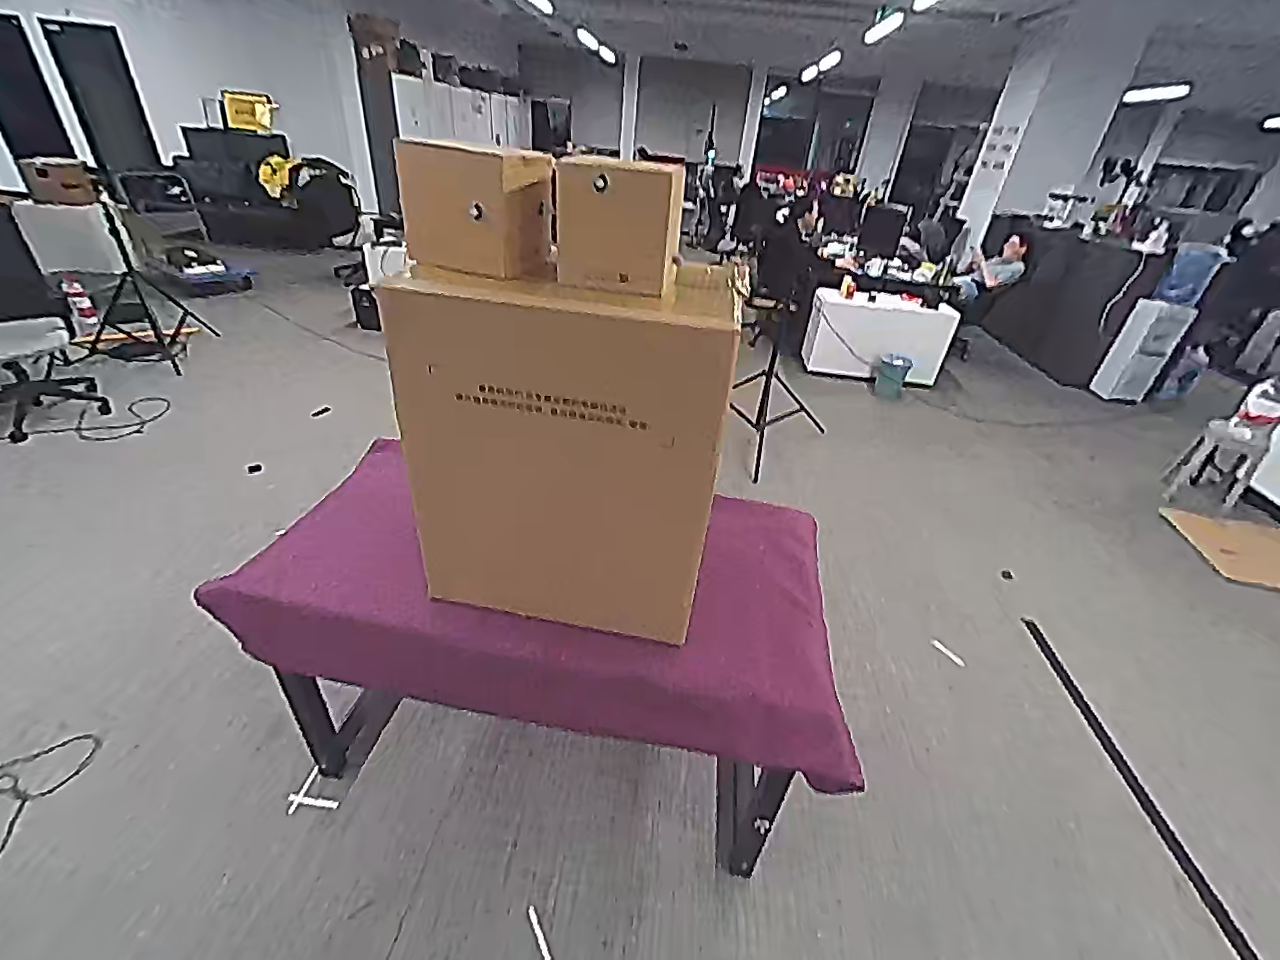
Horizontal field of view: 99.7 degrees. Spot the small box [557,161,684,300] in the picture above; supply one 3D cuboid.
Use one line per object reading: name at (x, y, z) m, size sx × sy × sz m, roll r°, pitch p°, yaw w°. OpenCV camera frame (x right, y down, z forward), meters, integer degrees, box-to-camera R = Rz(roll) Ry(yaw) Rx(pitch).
small box at (-0.029, -0.394, 0.849) m, size 0.168 × 0.176 × 0.179 m, roll 8°, pitch 32°, yaw 6°
